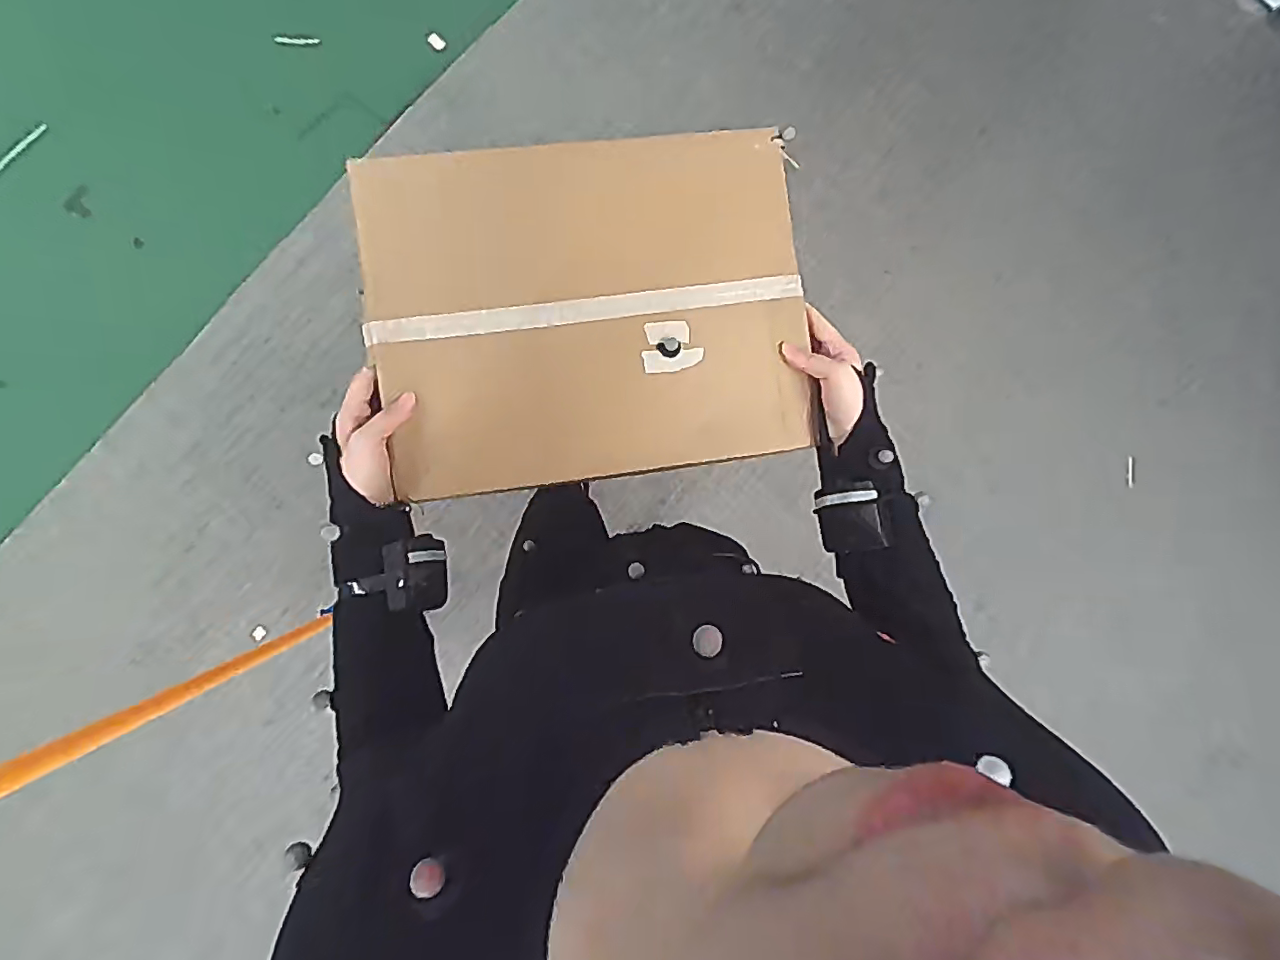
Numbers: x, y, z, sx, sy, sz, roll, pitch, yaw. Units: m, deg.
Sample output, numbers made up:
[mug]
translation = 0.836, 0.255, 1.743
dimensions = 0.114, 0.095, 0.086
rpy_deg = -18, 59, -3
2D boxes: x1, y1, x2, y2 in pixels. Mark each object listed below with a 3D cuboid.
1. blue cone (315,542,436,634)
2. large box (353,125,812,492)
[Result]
[blue cone]
translation = -0.642, 0.275, 1.263
dimensions = 0.193, 0.380, 0.192
rpy_deg = -43, 90, -6
[large box]
translation = -0.063, -0.169, 0.661
dimensions = 0.408, 0.320, 0.320
rpy_deg = -8, 91, -7
